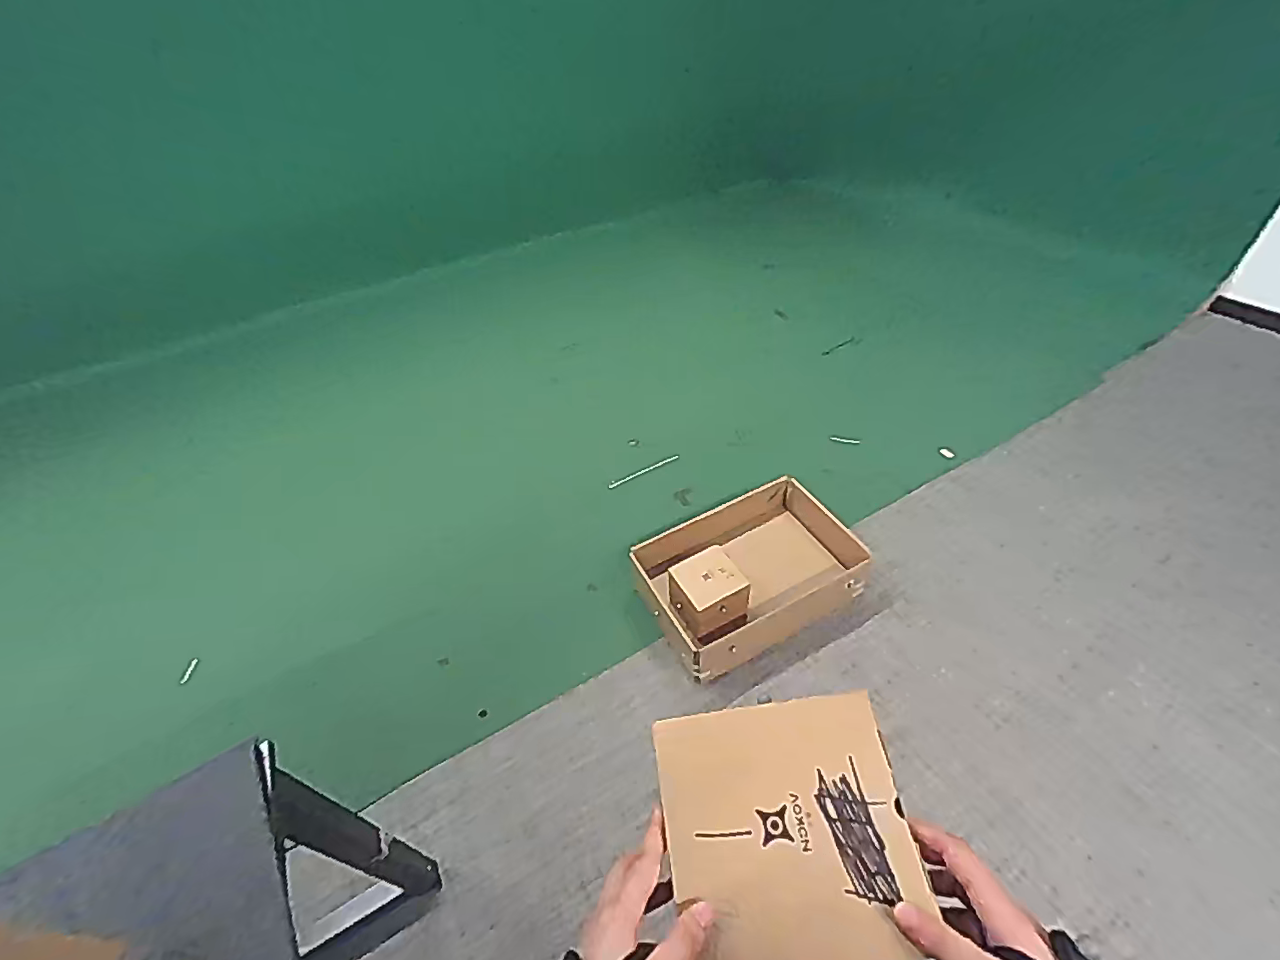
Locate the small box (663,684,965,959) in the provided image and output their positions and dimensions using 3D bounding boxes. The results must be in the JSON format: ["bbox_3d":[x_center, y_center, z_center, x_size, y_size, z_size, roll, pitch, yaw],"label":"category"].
[{"bbox_3d":[0.115,0.278,0.447,0.179,0.176,0.168,-8,58,-1],"label":"small box"}]

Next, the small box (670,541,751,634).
[{"bbox_3d":[0.202,0.316,1.570,0.179,0.176,0.168,-23,49,-18],"label":"small box"}]
